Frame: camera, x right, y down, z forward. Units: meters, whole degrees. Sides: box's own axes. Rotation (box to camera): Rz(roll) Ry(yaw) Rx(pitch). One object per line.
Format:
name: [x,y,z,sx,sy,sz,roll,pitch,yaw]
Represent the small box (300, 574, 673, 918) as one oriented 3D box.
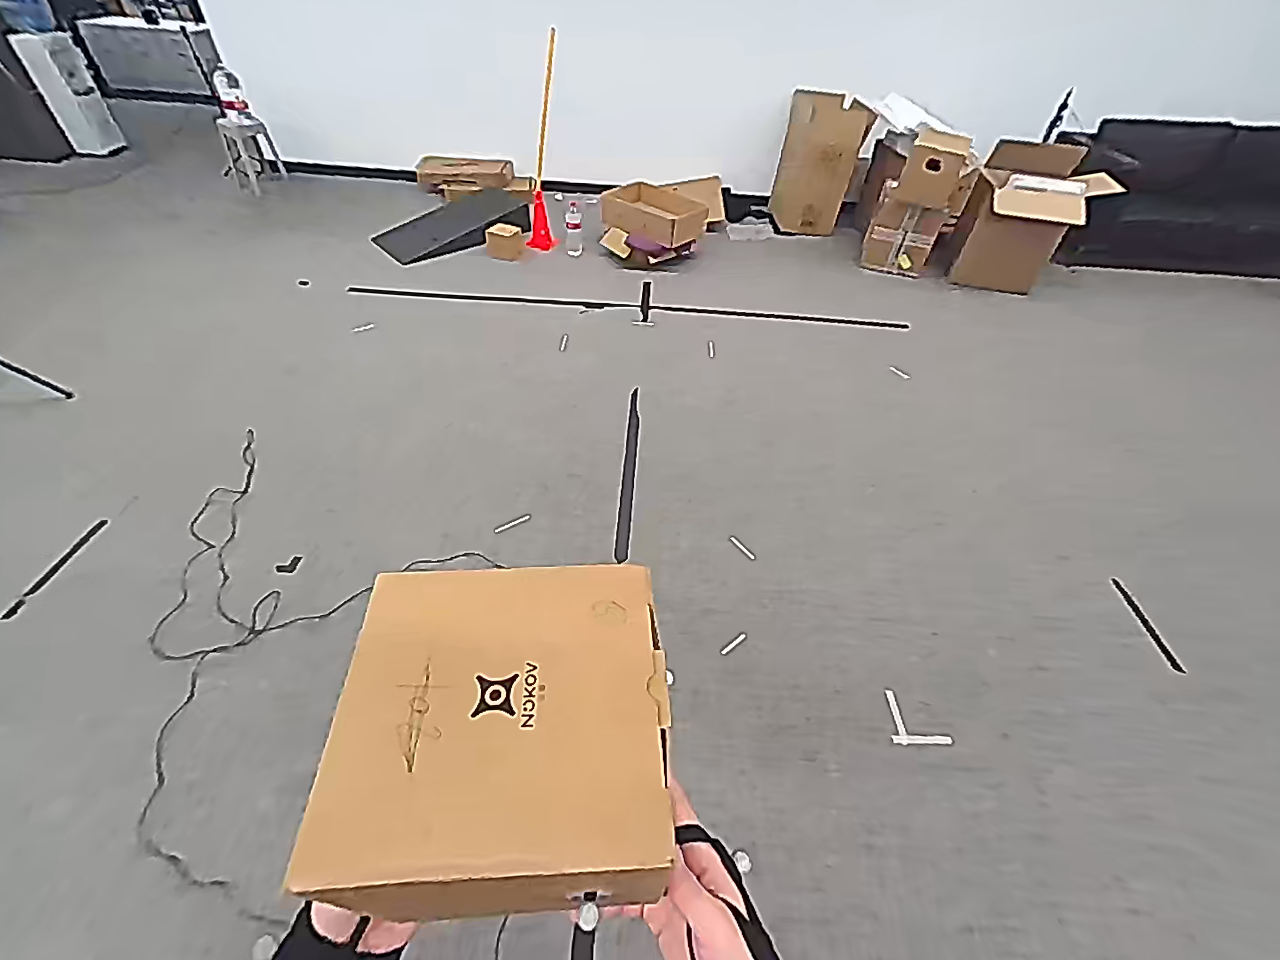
small box: [-0.077,0.180,0.365,0.179,0.176,0.168,-2,46,-3]
